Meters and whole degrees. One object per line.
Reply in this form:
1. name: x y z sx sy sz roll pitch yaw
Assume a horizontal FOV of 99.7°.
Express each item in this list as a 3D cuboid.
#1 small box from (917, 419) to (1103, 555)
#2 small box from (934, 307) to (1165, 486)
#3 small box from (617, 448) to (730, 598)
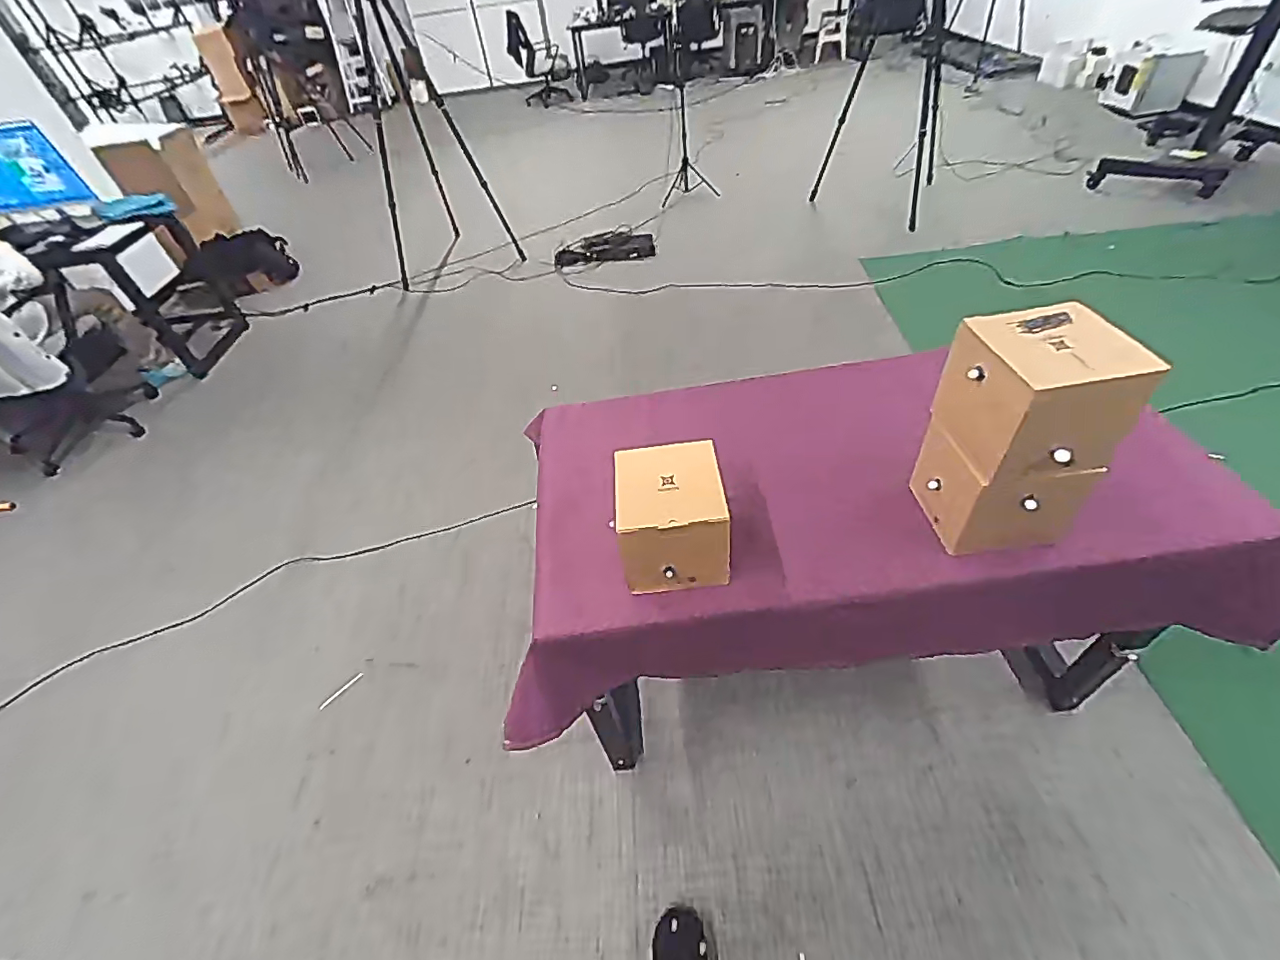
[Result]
1. small box: 0.570 0.005 0.870 0.179 0.176 0.168 -7 45 3
2. small box: 0.548 -0.116 0.761 0.168 0.176 0.179 -9 45 1
3. small box: 0.053 0.072 0.897 0.168 0.176 0.179 -7 45 2
